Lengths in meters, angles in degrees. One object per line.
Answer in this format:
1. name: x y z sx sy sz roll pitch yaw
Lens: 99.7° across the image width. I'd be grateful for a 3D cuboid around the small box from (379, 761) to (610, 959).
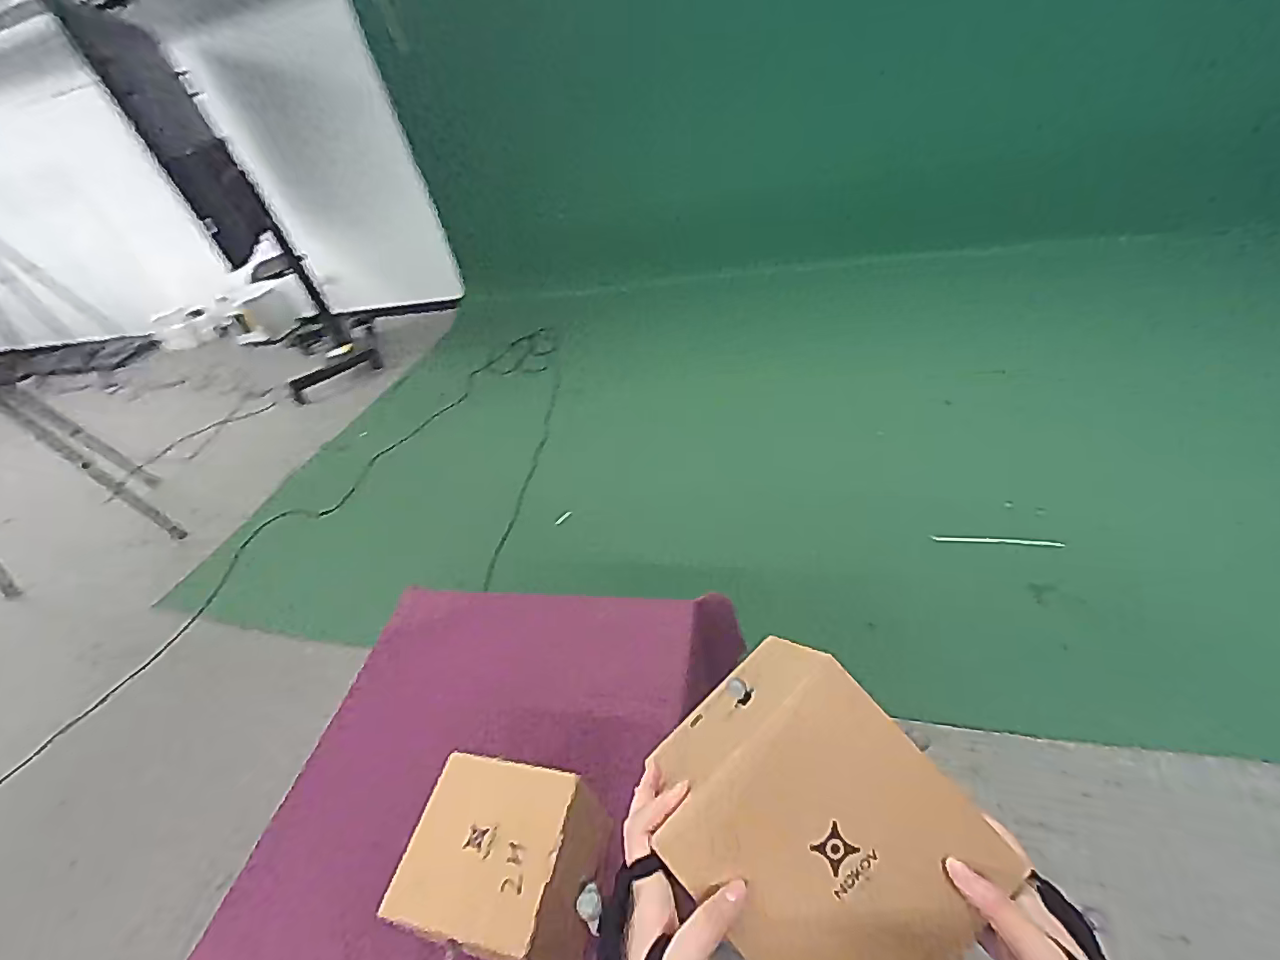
1. small box: -0.153 0.460 0.633 0.179 0.176 0.168 0 42 18
